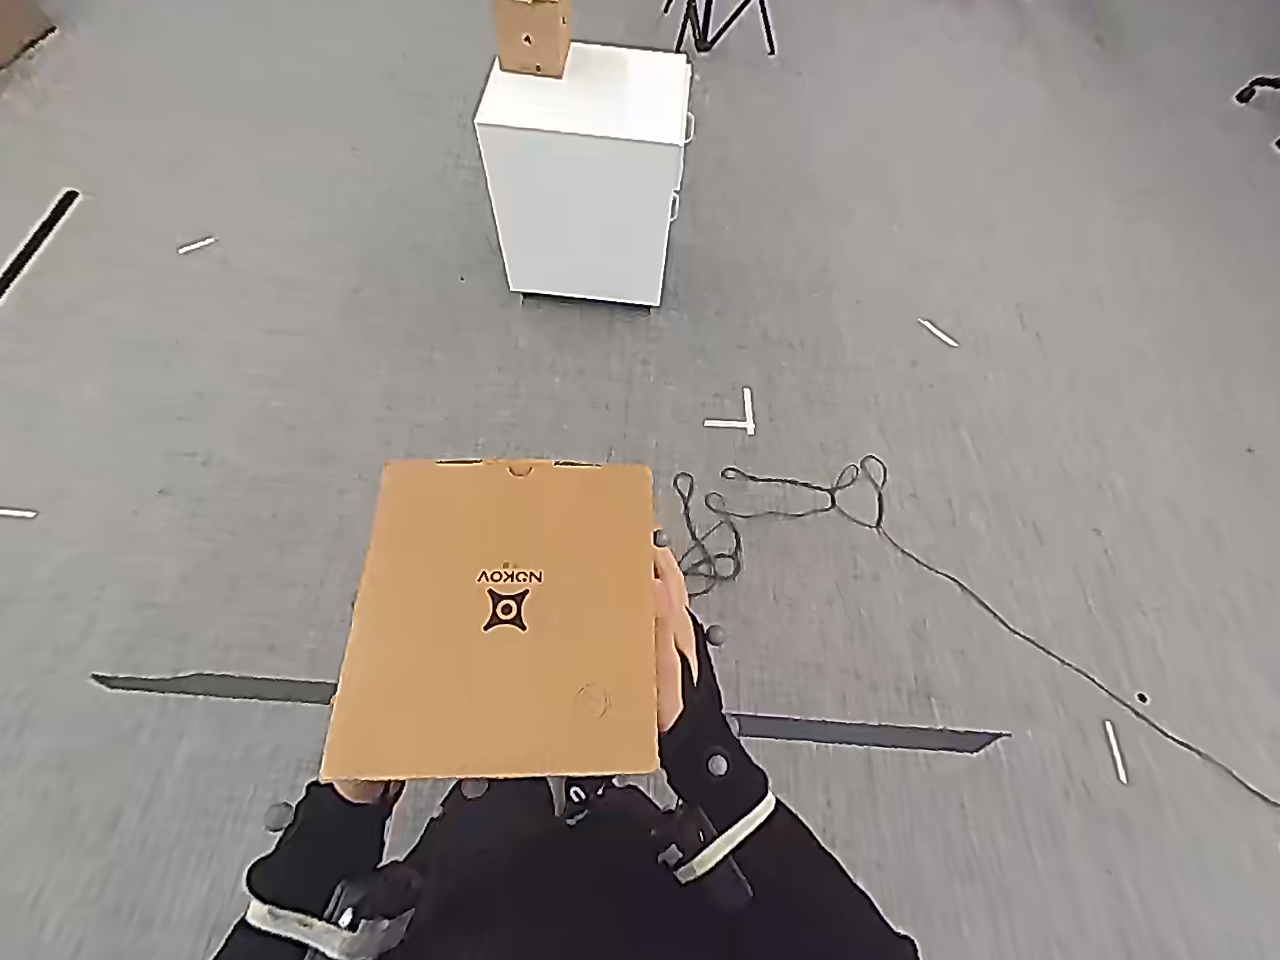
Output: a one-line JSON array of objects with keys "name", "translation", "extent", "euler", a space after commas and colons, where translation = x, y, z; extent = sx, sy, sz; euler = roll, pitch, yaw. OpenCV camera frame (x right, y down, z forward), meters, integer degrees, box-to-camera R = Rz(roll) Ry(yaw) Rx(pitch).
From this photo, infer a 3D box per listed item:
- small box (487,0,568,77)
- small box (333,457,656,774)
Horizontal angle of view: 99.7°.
[{"name": "small box", "translation": [-0.277, -1.169, 1.378], "extent": [0.168, 0.176, 0.179], "euler": [6, 66, -2]}, {"name": "small box", "translation": [-0.077, 0.099, 0.377], "extent": [0.168, 0.176, 0.179], "euler": [1, 64, -4]}]
